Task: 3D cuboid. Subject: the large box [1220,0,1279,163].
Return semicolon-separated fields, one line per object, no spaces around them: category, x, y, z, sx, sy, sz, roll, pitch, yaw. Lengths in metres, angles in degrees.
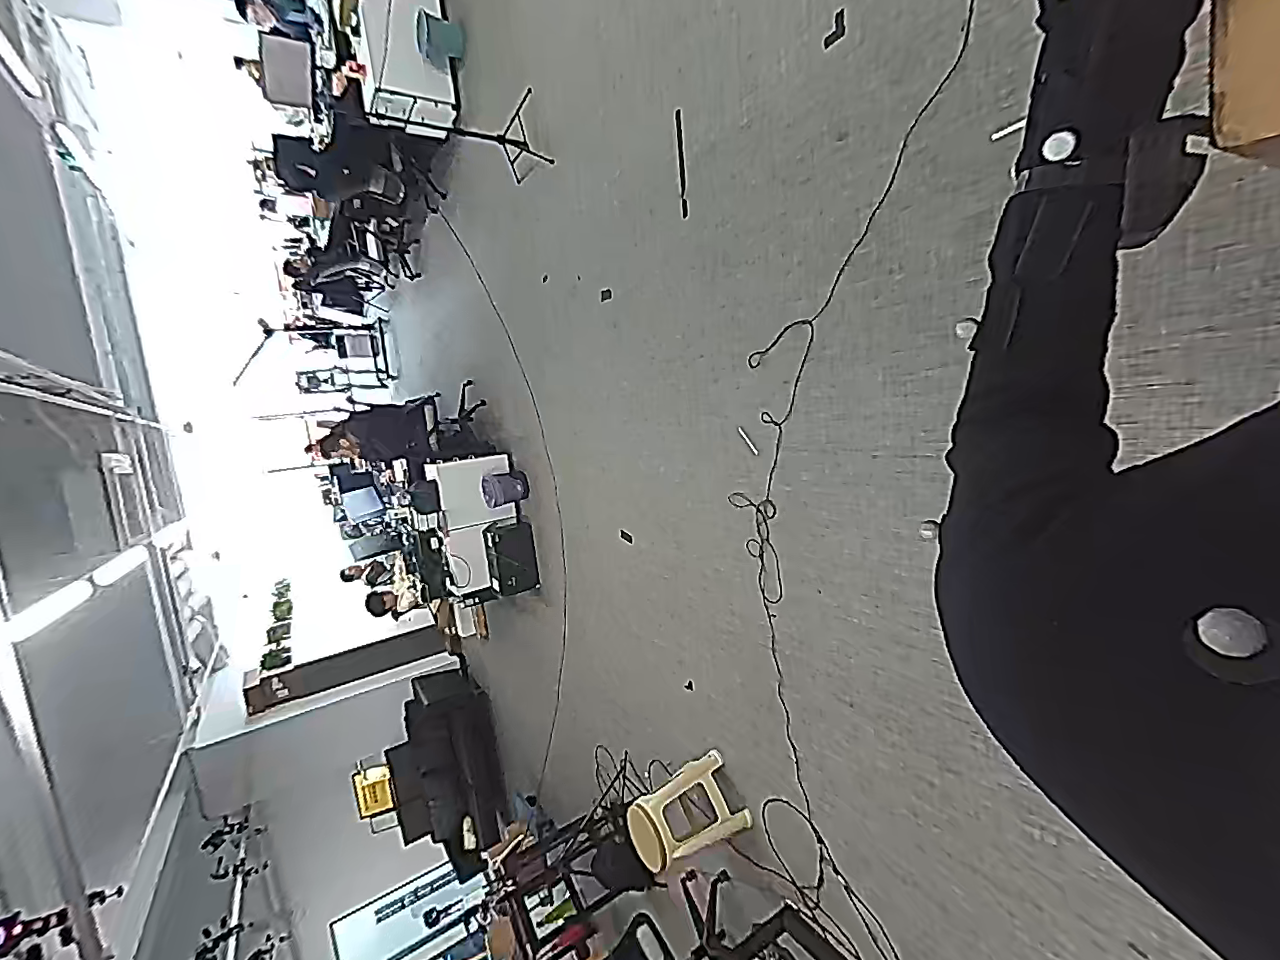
large box;0.537;-0.372;0.208;0.408;0.320;0.320;5;110;54
